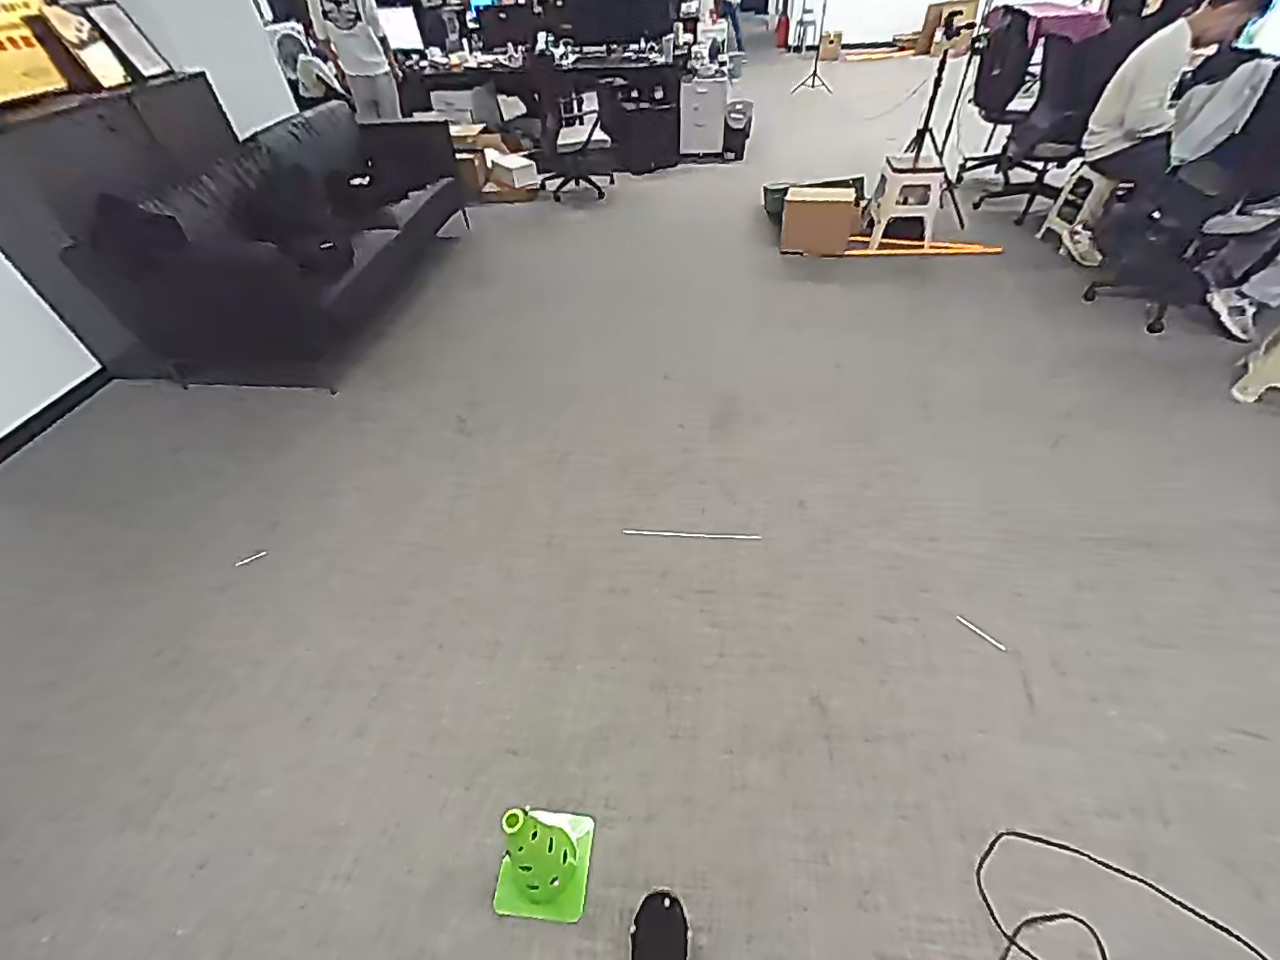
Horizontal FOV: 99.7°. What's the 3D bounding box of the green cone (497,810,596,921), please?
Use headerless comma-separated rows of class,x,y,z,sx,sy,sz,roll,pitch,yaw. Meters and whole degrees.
green cone,-0.215,0.753,1.112,0.202,0.368,0.200,2,46,5
